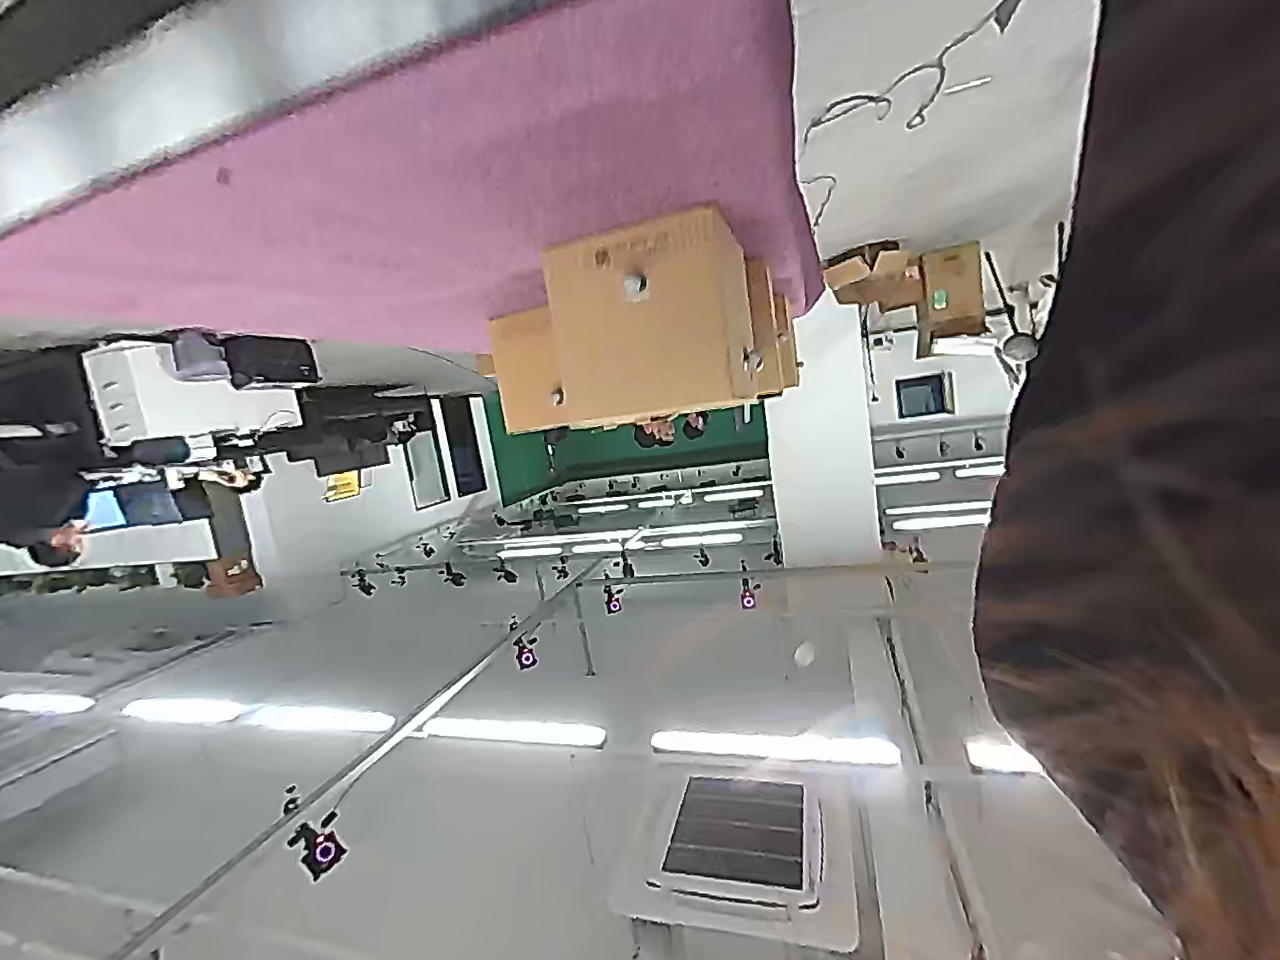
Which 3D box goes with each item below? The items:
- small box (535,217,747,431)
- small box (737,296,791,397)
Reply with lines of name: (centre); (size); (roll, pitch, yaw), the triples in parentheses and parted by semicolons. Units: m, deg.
small box: (0.012, -0.151, 0.559); (0.168, 0.176, 0.179); (-6, -172, 19)
small box: (0.195, -0.245, 1.031); (0.168, 0.176, 0.179); (-7, -173, 19)
